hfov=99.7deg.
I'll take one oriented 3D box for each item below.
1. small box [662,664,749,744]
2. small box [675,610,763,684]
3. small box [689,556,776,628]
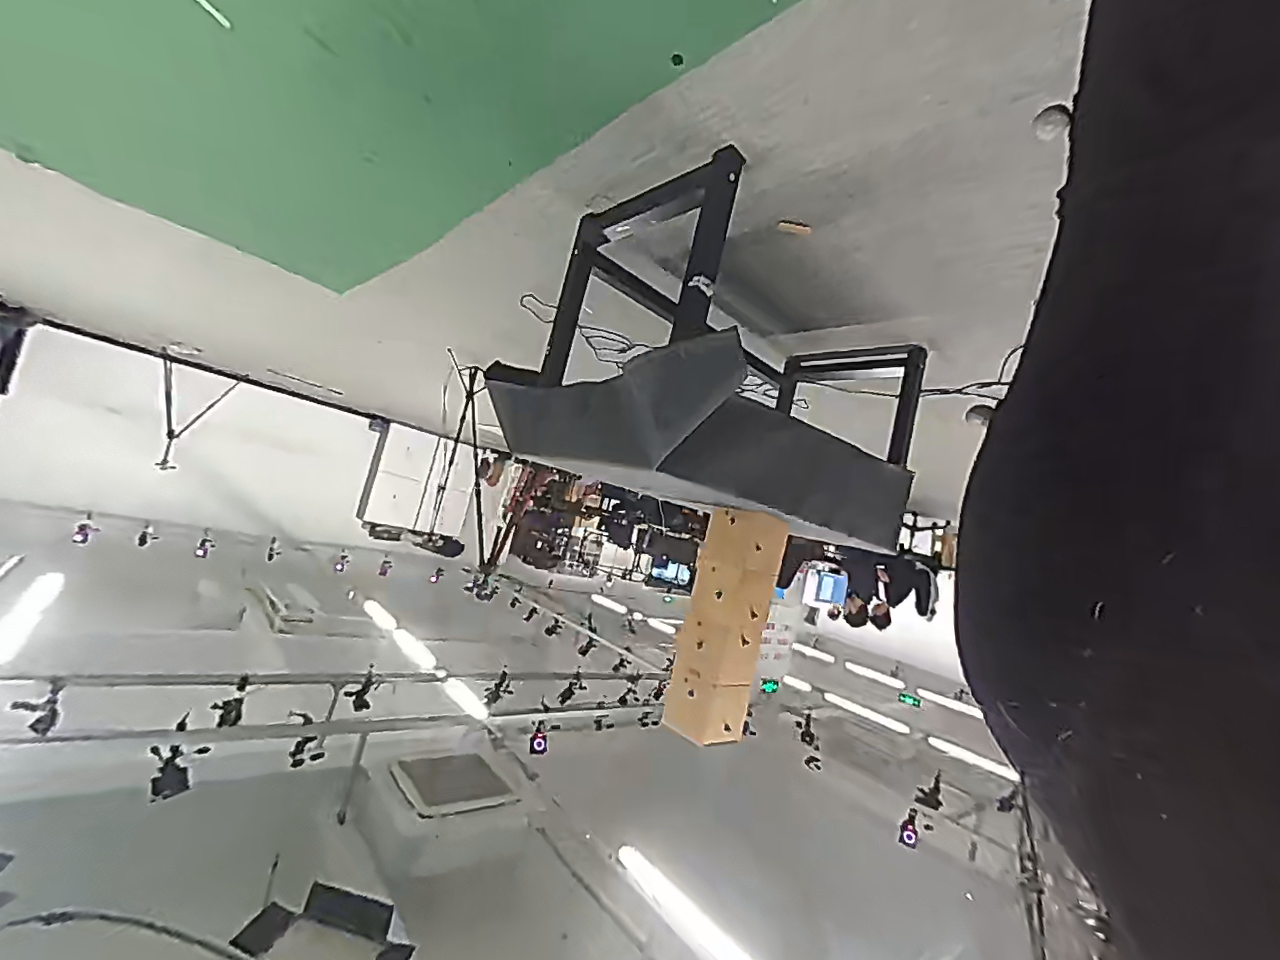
[{"bbox_3d":[0.197,0.645,1.581,0.179,0.176,0.168,18,173,-41],"label":"small box"},{"bbox_3d":[0.234,0.485,1.589,0.179,0.176,0.168,19,173,-42],"label":"small box"},{"bbox_3d":[0.276,0.327,1.597,0.179,0.176,0.168,18,174,-40],"label":"small box"}]
